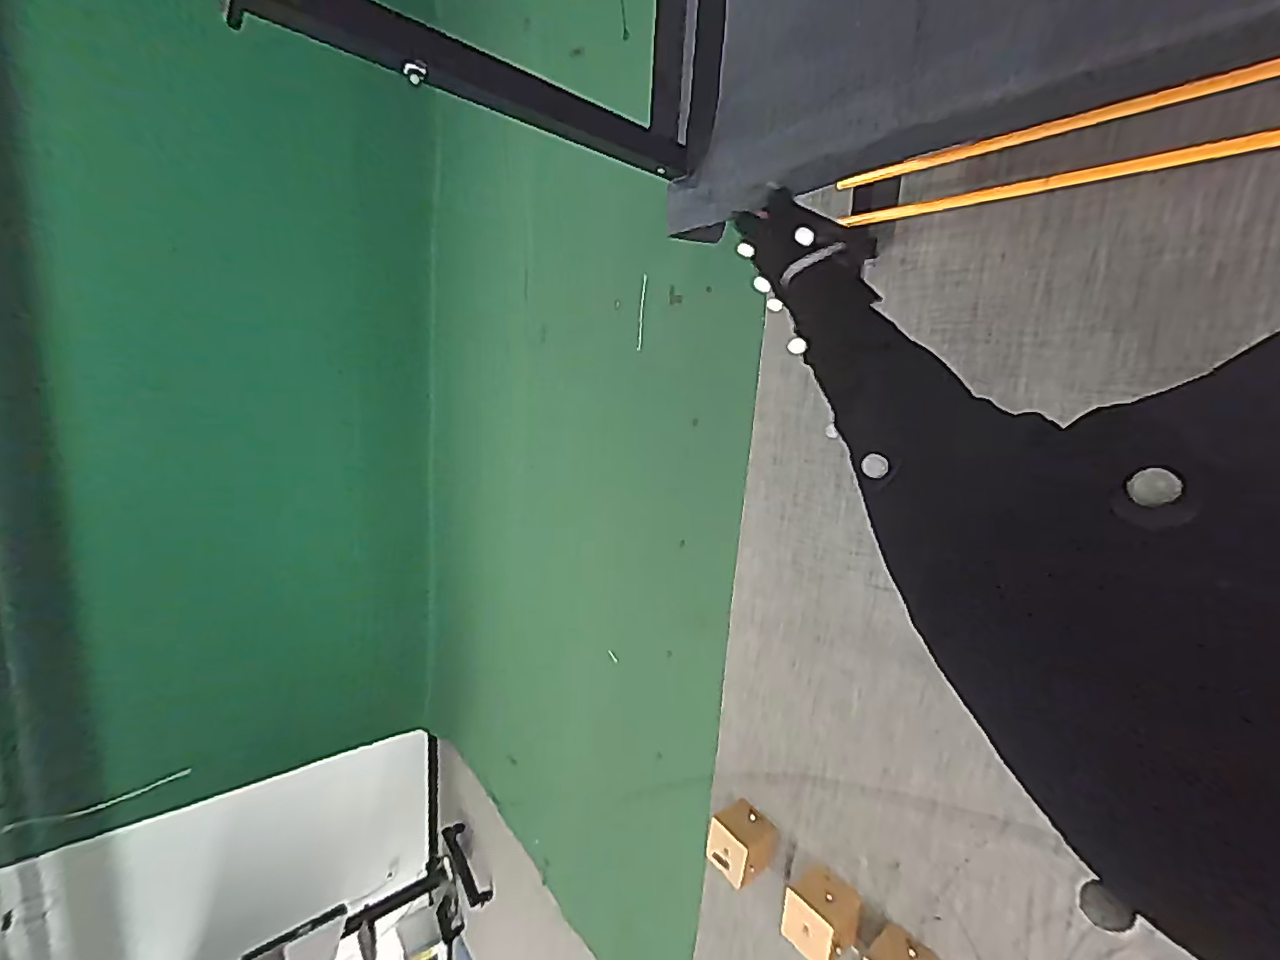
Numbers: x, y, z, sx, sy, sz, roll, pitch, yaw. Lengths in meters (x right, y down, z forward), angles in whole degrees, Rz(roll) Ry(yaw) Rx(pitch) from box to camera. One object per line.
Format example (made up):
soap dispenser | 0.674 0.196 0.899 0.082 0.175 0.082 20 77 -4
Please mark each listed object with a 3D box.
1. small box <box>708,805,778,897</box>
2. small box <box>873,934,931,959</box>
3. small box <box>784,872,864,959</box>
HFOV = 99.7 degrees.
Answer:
small box | 0.369 1.312 1.923 0.168 0.176 0.179 21 107 48
small box | 0.732 1.421 1.482 0.168 0.176 0.179 17 105 48
small box | 0.574 1.378 1.678 0.168 0.176 0.179 16 105 49
